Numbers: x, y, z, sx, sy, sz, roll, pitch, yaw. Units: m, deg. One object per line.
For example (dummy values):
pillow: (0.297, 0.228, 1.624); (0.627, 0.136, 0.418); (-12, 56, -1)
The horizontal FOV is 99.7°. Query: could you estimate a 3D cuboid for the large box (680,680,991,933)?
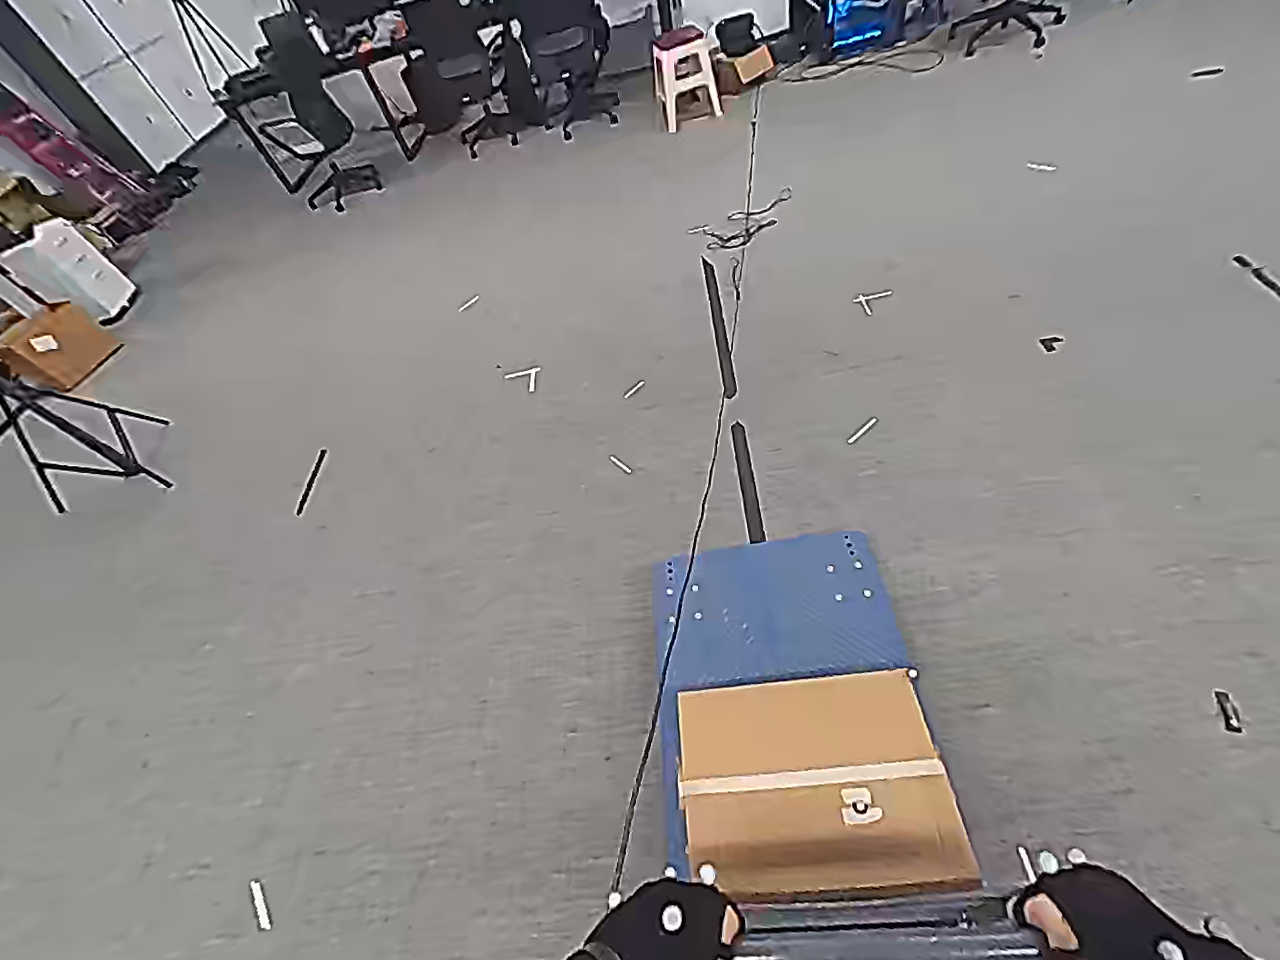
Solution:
large box: (0.300, 0.581, 0.949); (0.408, 0.320, 0.320); (-9, 49, 8)
